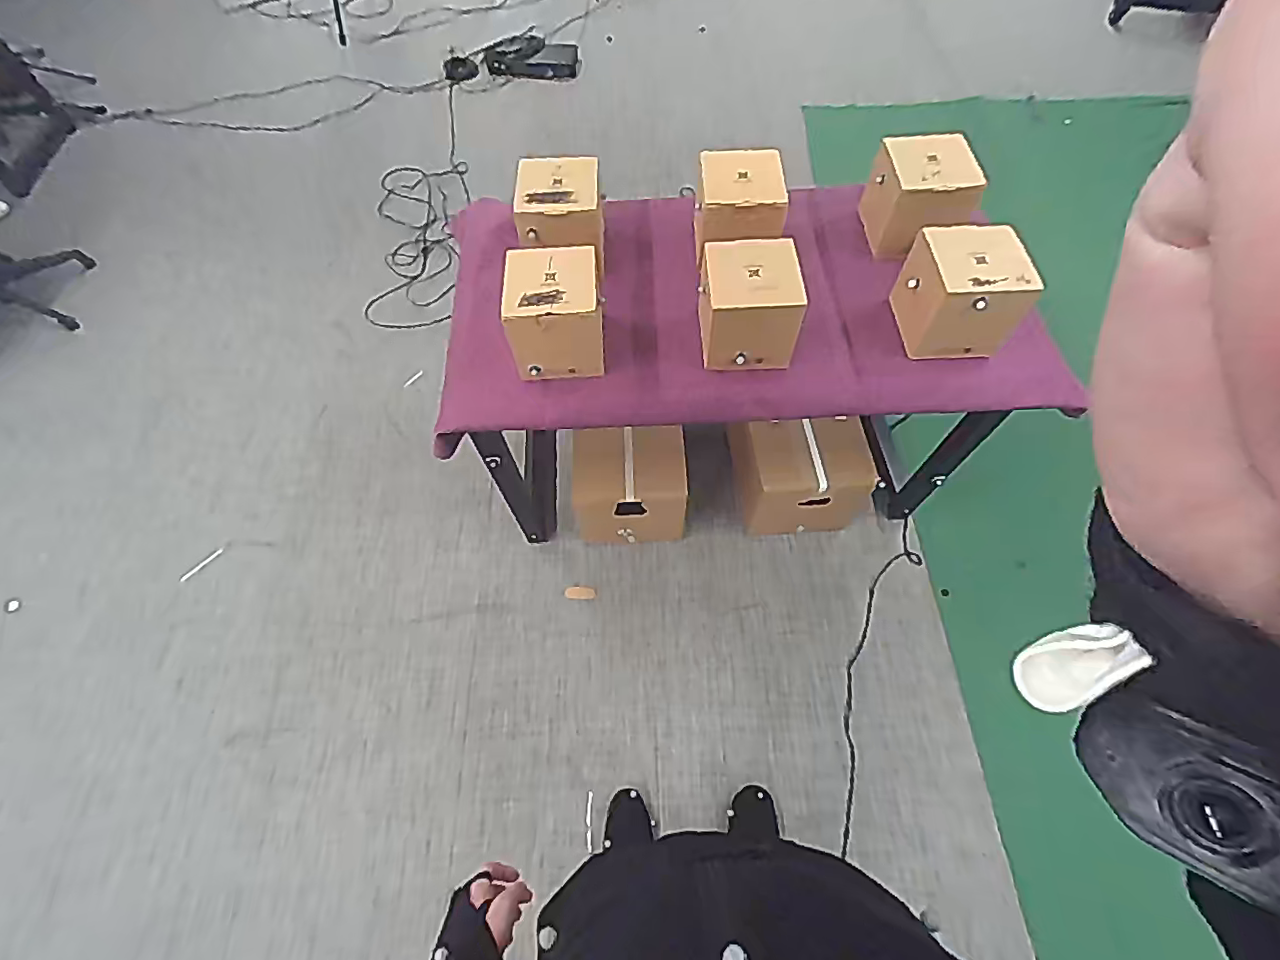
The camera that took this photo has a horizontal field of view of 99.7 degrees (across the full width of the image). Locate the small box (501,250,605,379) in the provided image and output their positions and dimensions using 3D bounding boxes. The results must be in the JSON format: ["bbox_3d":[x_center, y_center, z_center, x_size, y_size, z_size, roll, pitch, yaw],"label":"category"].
[{"bbox_3d":[-0.156,-0.306,1.027,0.168,0.176,0.179,-3,60,0],"label":"small box"}]

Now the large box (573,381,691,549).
[{"bbox_3d":[-0.025,-0.039,1.632,0.320,0.320,0.408,-2,60,0],"label":"large box"}]

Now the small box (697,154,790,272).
[{"bbox_3d":[0.212,-0.563,1.156,0.168,0.176,0.179,-1,63,1],"label":"small box"}]

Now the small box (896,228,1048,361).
[{"bbox_3d":[0.606,-0.346,1.018,0.168,0.176,0.179,-2,59,3],"label":"small box"}]

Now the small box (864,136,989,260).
[{"bbox_3d":[0.596,-0.598,1.155,0.168,0.176,0.179,-2,62,3],"label":"small box"}]

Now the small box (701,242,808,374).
[{"bbox_3d":[0.206,-0.322,1.024,0.168,0.176,0.179,-2,61,2],"label":"small box"}]
